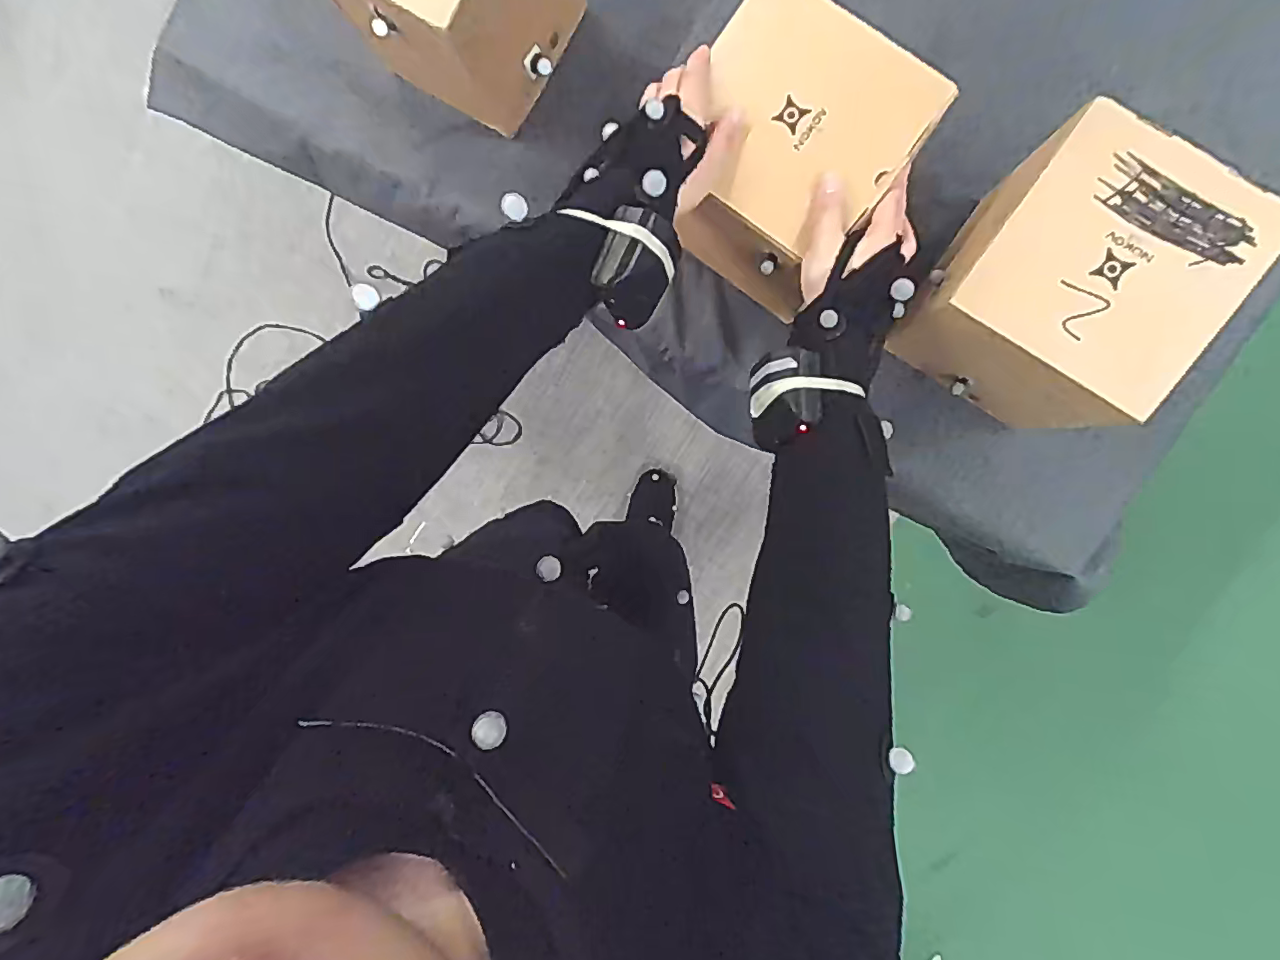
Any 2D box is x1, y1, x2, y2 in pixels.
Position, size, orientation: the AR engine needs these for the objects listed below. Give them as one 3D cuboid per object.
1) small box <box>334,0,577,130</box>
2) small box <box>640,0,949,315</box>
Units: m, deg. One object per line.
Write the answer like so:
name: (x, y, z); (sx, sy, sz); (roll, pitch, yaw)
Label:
small box: (-0.186, -0.484, 0.516); (0.179, 0.176, 0.168); (32, 97, 3)
small box: (0.122, -0.277, 0.492); (0.179, 0.176, 0.168); (38, 96, 3)
